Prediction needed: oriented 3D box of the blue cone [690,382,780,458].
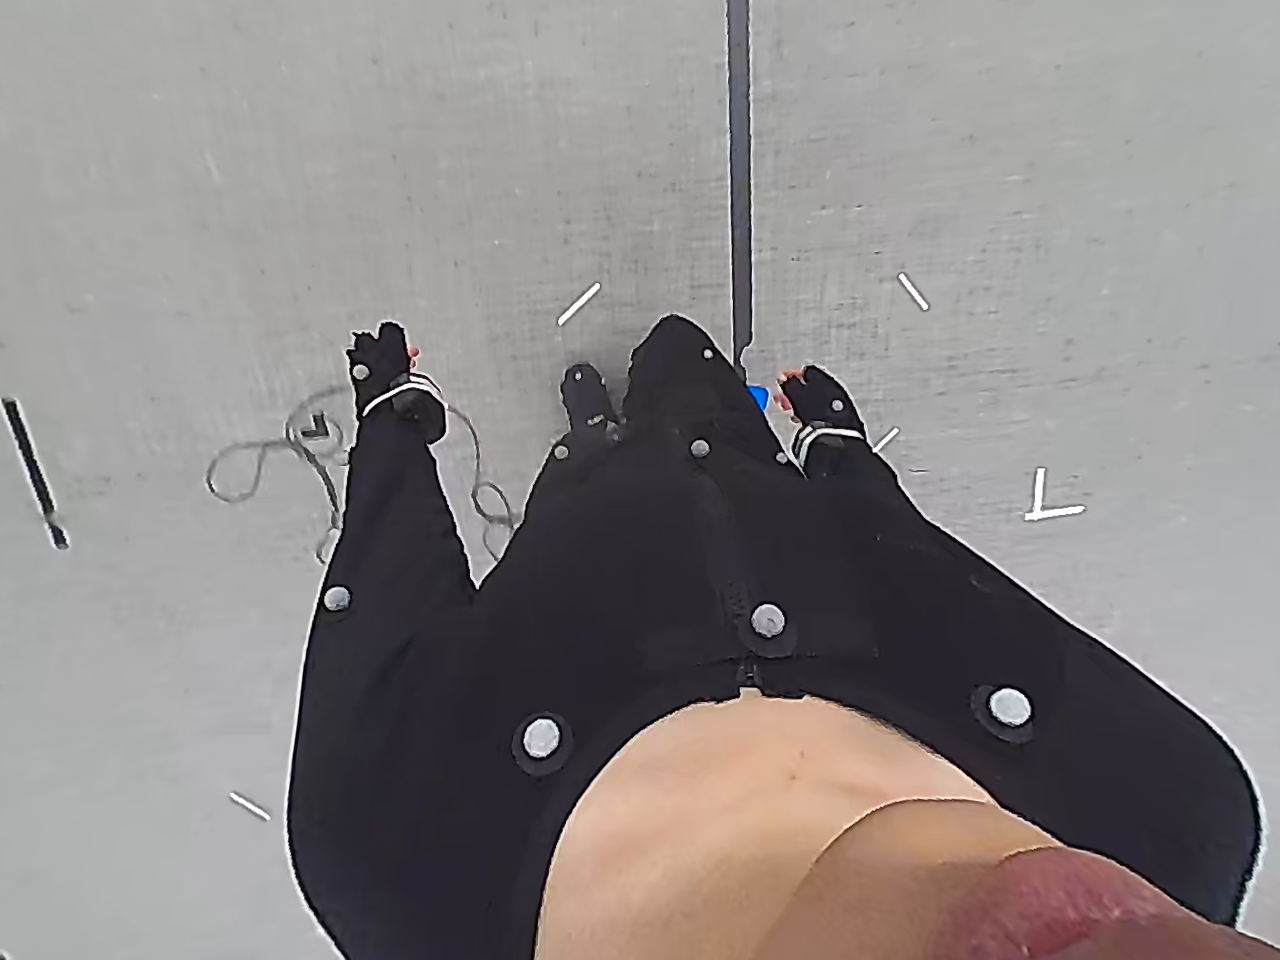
[{"bbox_3d":[0.247,-0.115,1.291,0.192,0.380,0.193,10,105,-7],"label":"blue cone"}]
